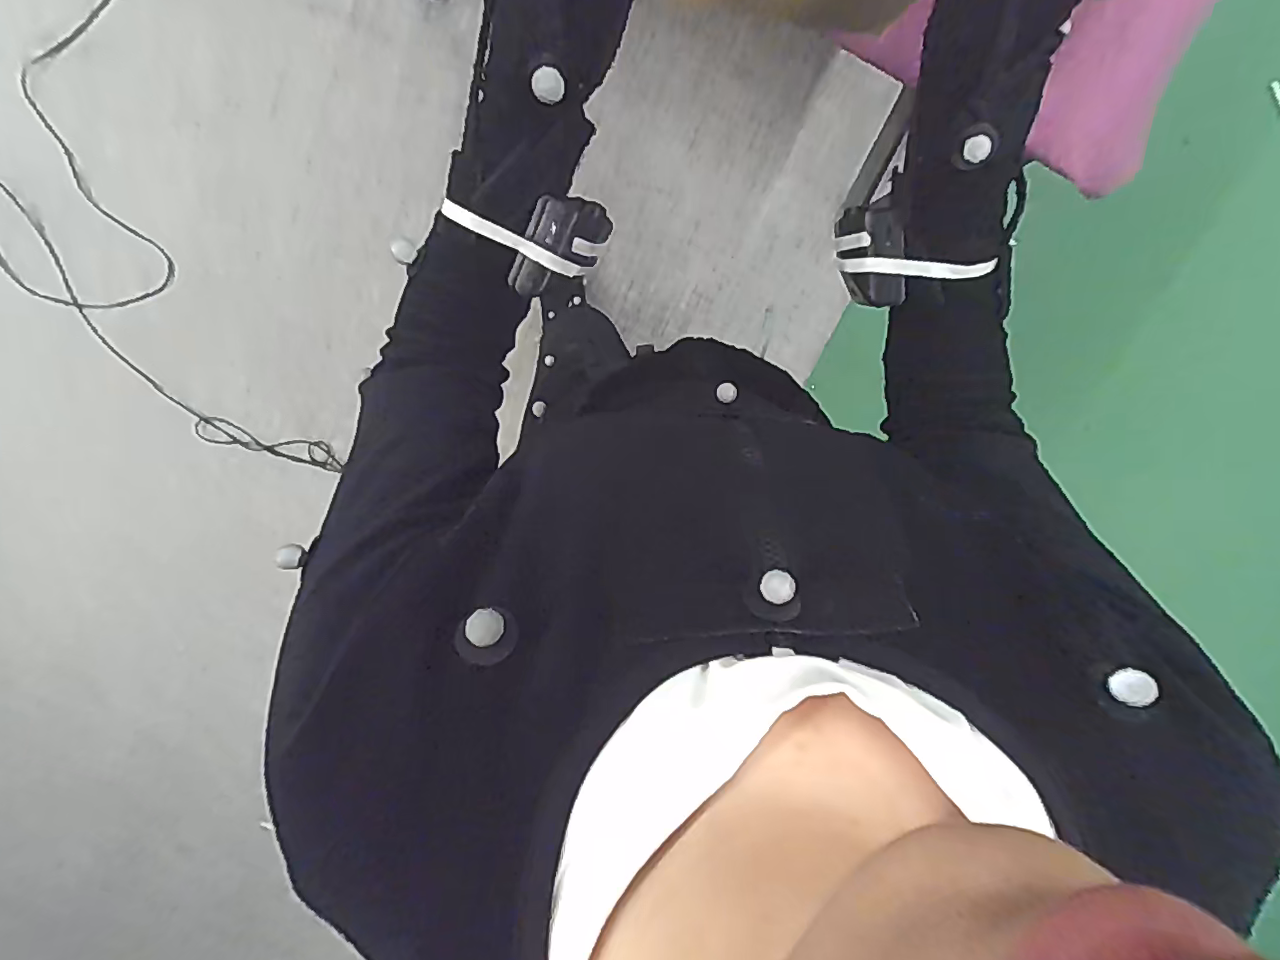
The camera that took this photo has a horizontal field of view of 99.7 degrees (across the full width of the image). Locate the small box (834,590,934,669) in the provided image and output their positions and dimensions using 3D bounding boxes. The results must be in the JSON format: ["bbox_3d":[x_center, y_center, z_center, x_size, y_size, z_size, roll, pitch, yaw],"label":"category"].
[{"bbox_3d":[0.675,0.445,1.525,0.168,0.176,0.179,26,103,-7],"label":"small box"}]
